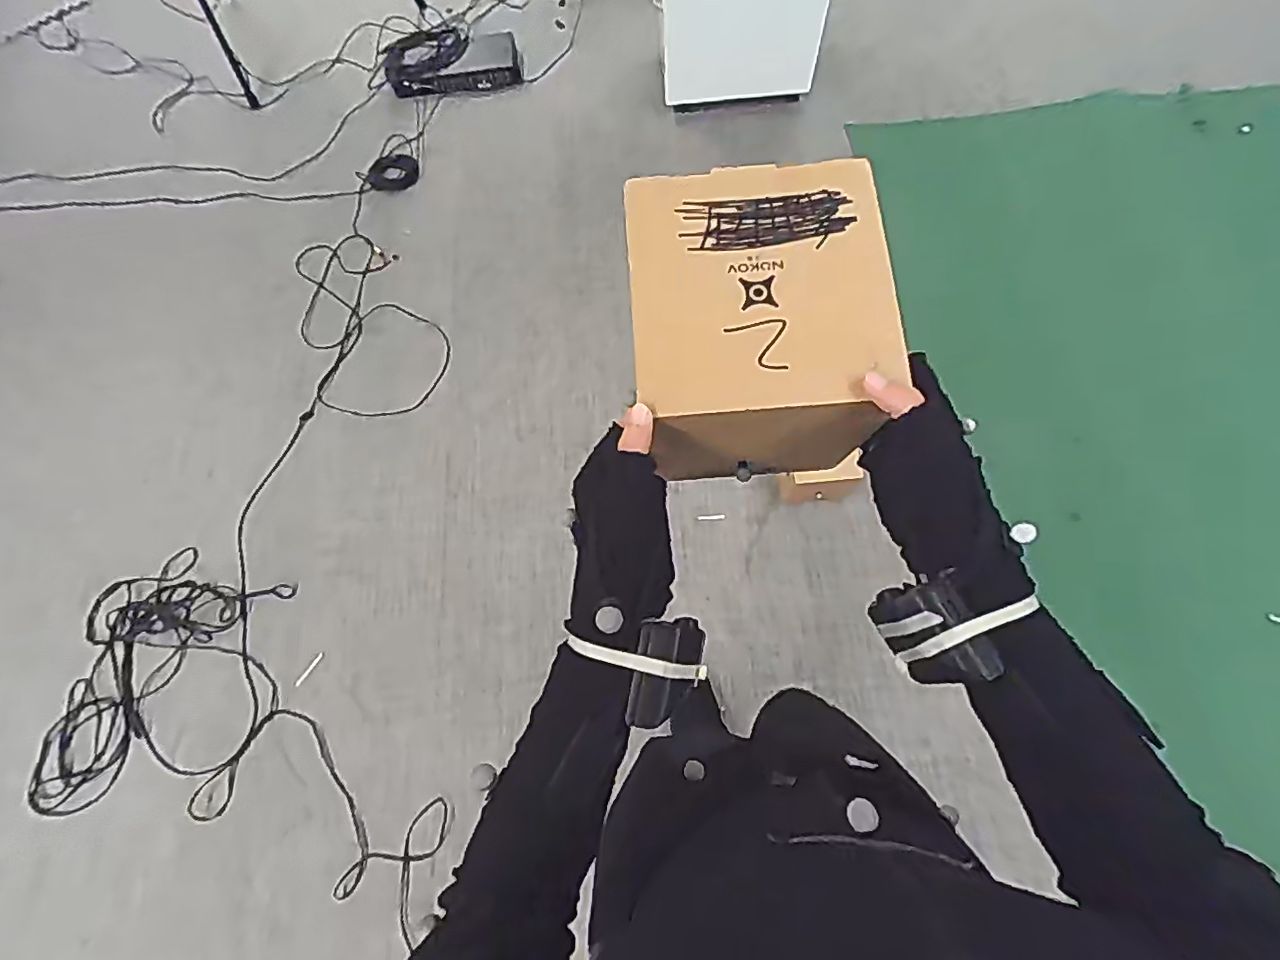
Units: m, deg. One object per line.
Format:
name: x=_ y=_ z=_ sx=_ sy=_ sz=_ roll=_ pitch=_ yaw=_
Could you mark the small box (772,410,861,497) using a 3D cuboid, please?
small box: x=0.445 y=-0.059 z=1.390 sx=0.168 sy=0.176 sz=0.179 roll=-5 pitch=70 yaw=1
